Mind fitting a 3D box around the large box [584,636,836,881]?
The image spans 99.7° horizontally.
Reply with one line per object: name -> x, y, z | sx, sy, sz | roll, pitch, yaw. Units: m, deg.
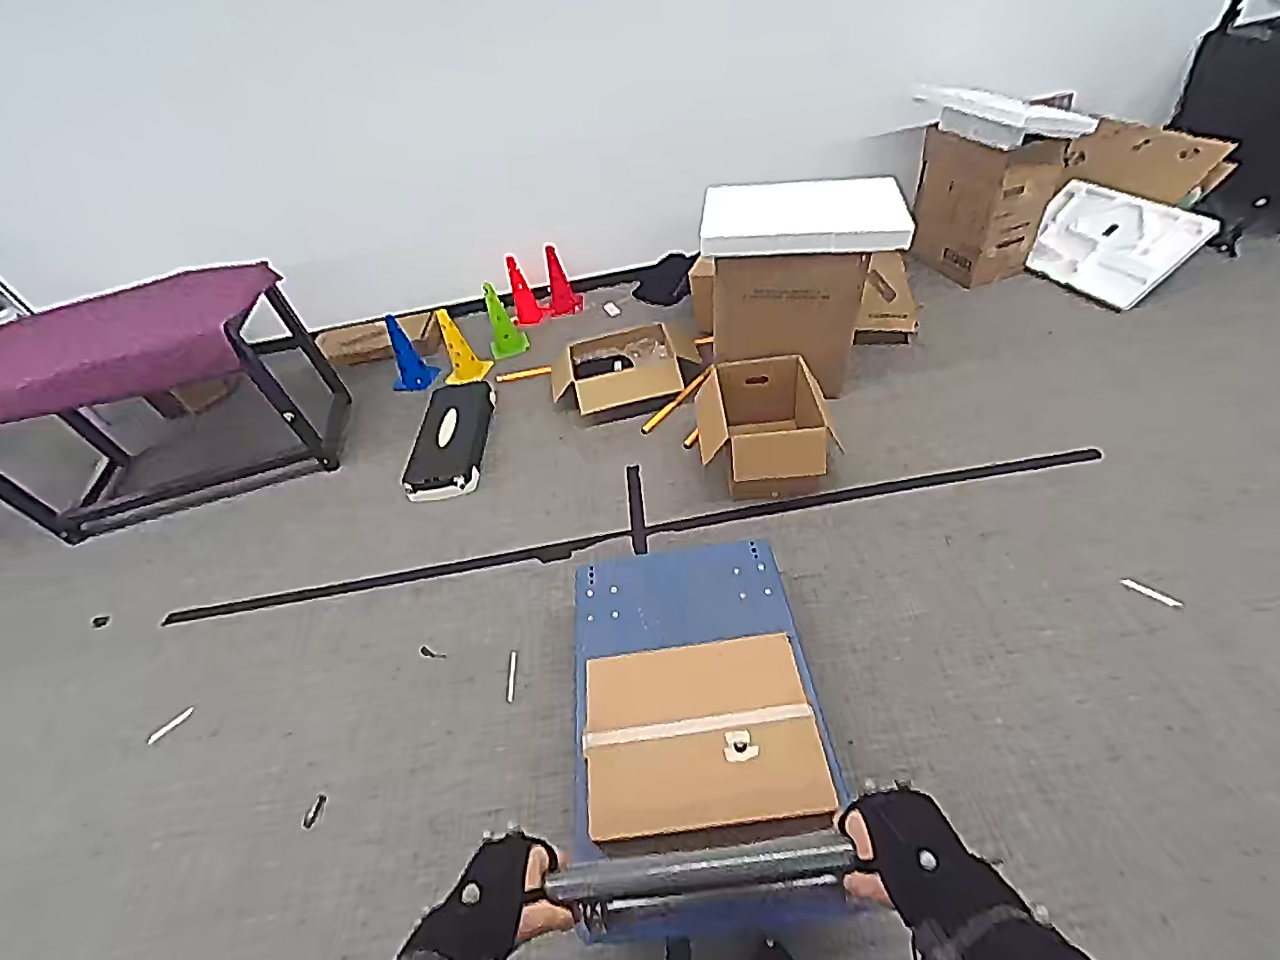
large box -> 0.117, 0.547, 1.059 | 0.408, 0.320, 0.320 | -9, 46, 2
